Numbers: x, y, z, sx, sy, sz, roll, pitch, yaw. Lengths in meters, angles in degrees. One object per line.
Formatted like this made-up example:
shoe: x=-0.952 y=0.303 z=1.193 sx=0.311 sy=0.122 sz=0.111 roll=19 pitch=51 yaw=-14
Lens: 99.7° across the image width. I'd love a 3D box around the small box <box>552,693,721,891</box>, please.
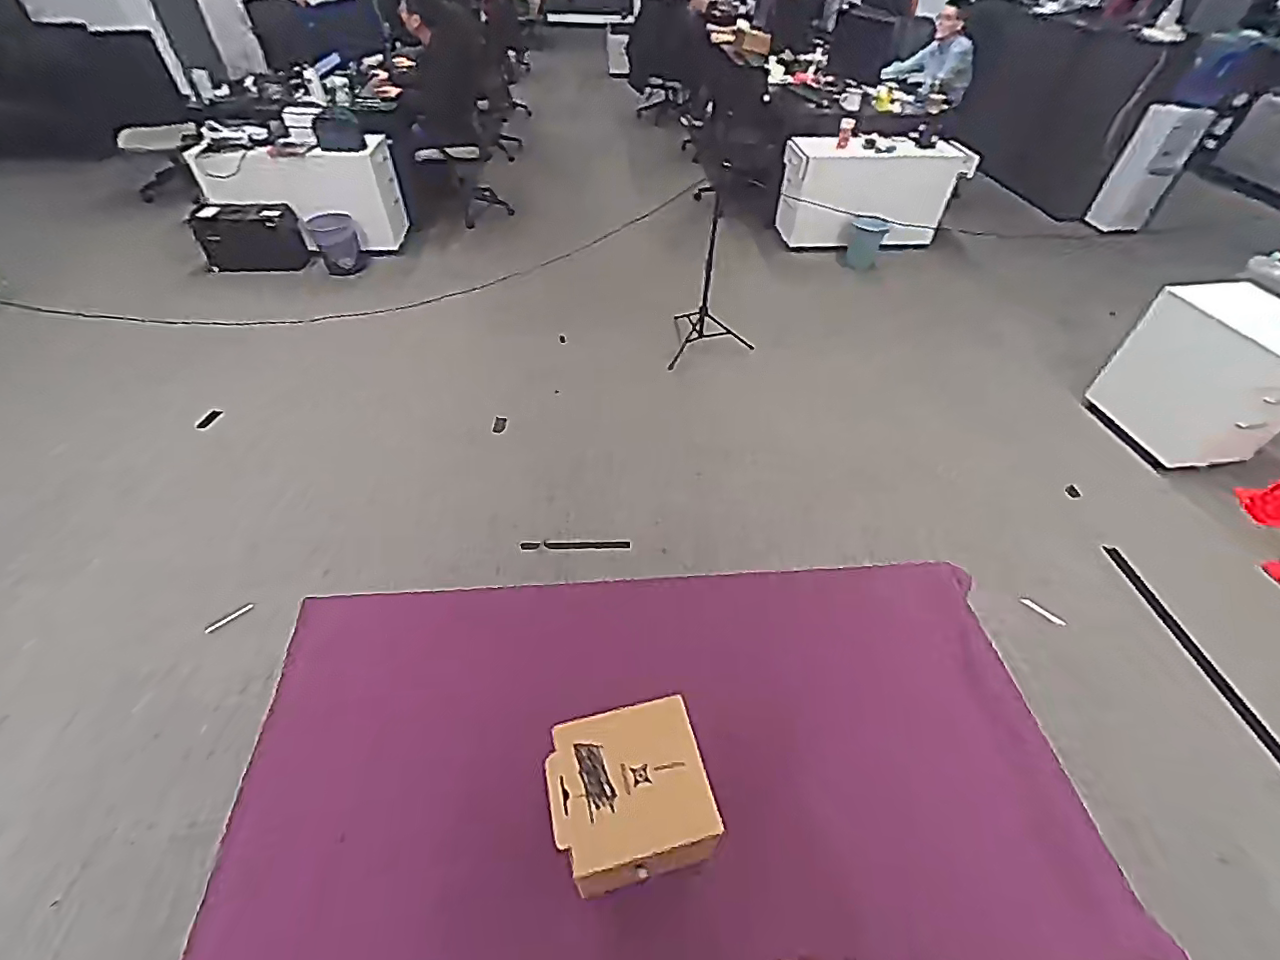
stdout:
small box: x=-0.010 y=0.411 z=0.710 sx=0.179 sy=0.176 sz=0.168 roll=-10 pitch=48 yaw=-12
